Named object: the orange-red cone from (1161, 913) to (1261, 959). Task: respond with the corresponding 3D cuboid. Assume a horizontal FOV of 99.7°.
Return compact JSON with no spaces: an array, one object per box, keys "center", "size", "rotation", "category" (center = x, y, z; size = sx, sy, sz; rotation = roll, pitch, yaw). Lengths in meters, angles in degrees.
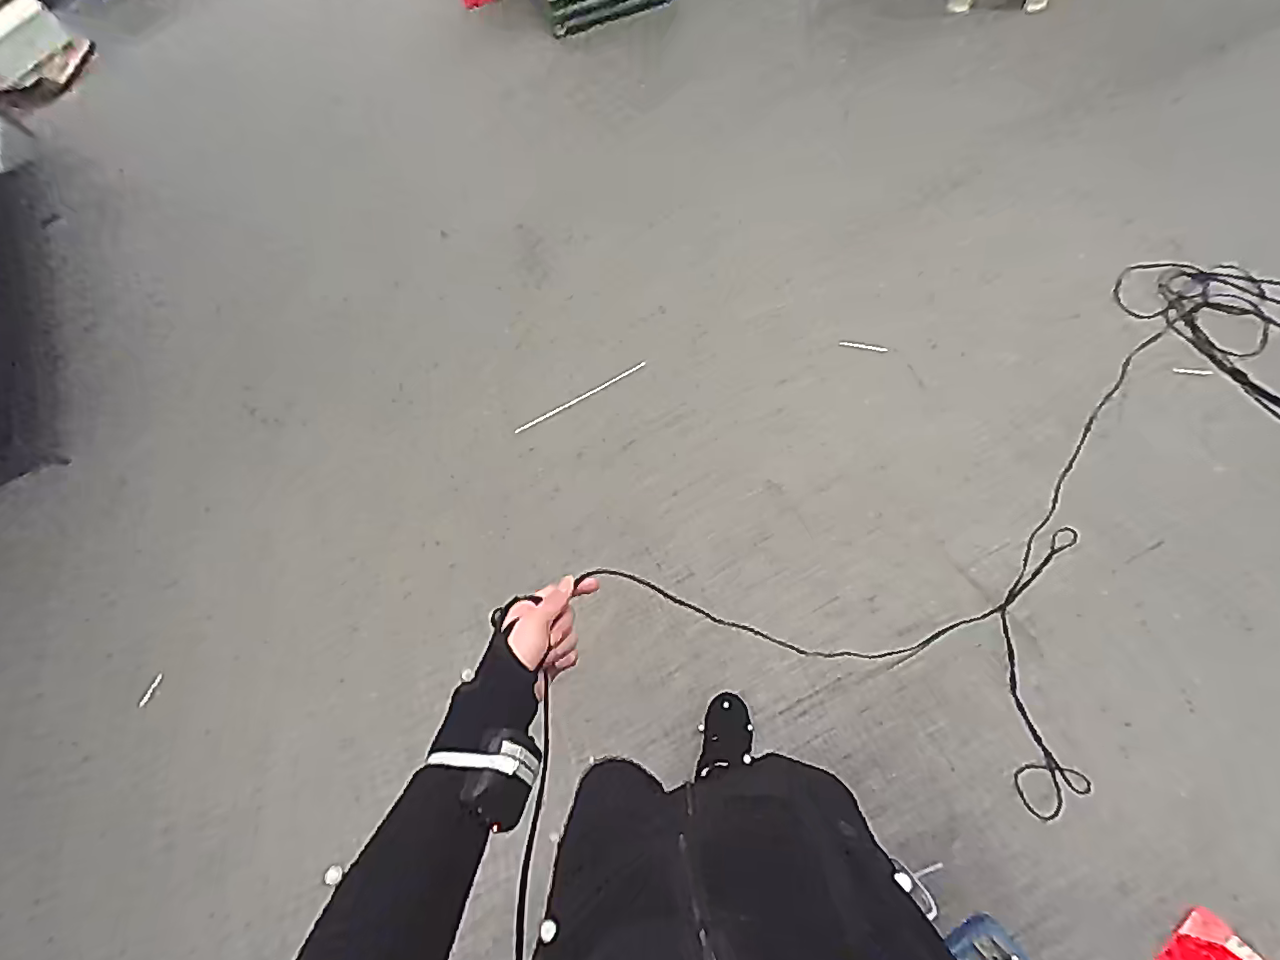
[{"center":[1.137,0.948,0.913],"size":[0.199,0.360,0.198],"rotation":[-41,70,-9],"category":"orange-red cone"}]
